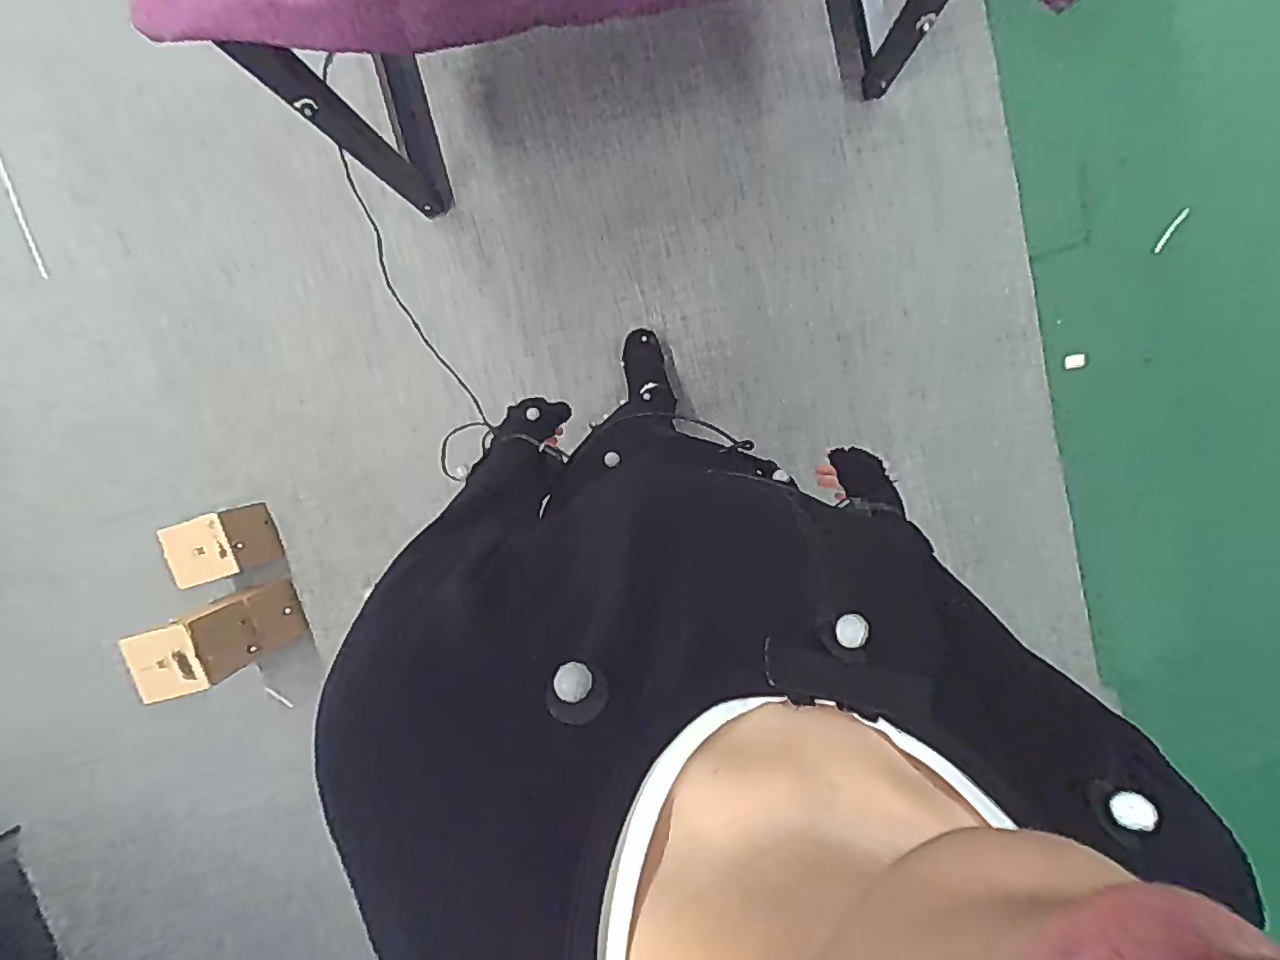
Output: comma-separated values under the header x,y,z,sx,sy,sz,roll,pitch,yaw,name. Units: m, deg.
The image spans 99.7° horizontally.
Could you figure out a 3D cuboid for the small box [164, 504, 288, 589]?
x,y,z,sx,sy,sz,roll,pitch,yaw,name
-1.109,0.175,1.462,0.179,0.176,0.168,-16,97,5,small box
